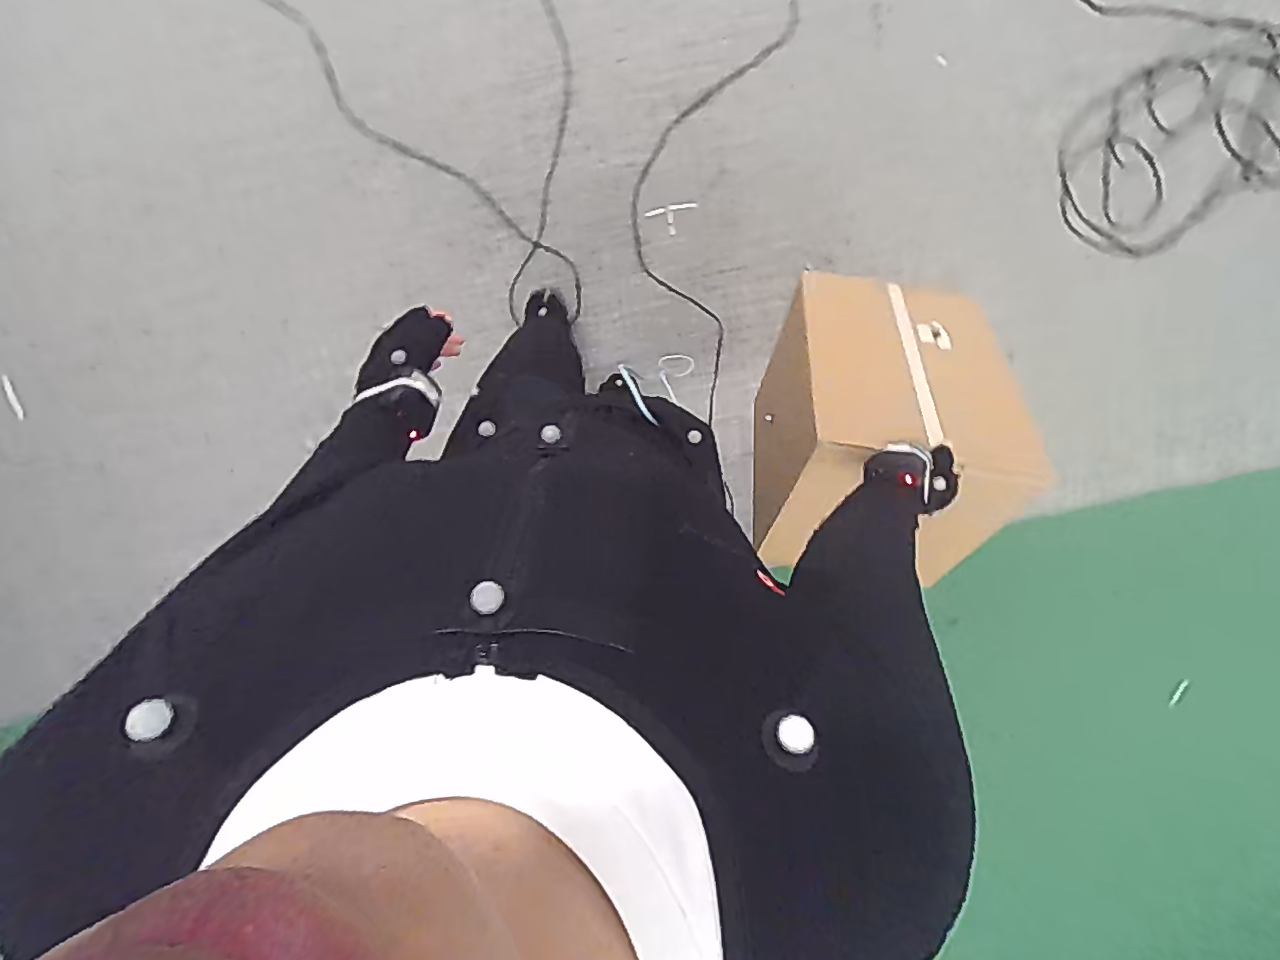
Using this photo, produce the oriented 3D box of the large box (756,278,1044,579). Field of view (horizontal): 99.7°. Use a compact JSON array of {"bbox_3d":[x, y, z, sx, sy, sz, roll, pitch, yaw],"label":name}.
[{"bbox_3d":[0.393,-0.088,0.949,0.320,0.408,0.320,10,142,-1],"label":"large box"}]
